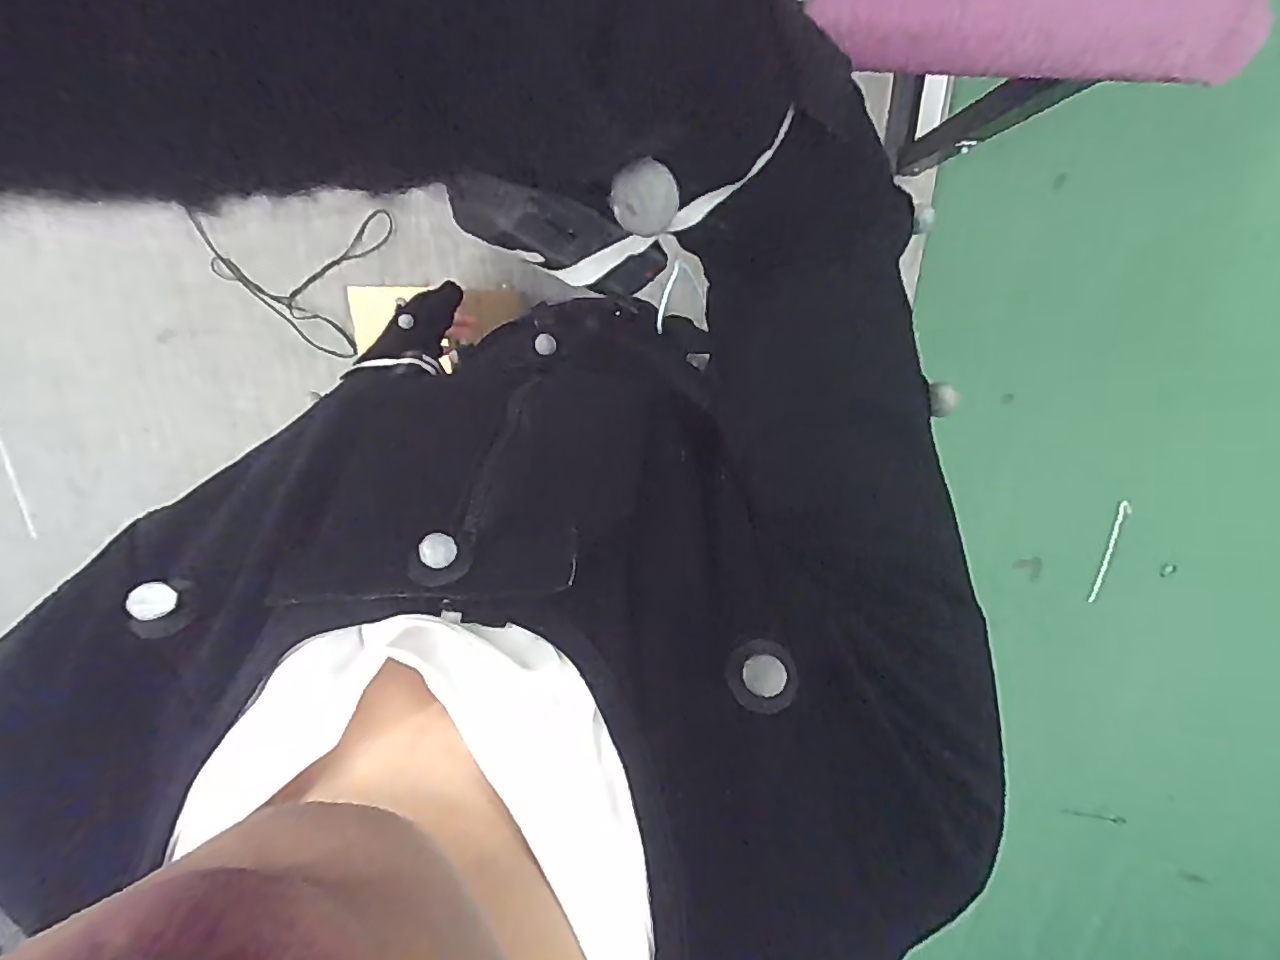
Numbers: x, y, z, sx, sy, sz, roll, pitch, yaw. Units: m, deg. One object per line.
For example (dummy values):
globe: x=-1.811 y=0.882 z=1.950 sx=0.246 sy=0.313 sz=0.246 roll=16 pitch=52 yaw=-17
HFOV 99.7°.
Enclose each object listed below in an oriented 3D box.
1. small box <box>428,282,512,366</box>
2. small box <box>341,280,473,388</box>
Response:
small box: x=-0.414 y=-0.382 z=1.315 sx=0.168 sy=0.176 sz=0.179 roll=5 pitch=110 yaw=0
small box: x=-0.420 y=-0.276 z=1.005 sx=0.168 sy=0.176 sz=0.179 roll=2 pitch=111 yaw=1
